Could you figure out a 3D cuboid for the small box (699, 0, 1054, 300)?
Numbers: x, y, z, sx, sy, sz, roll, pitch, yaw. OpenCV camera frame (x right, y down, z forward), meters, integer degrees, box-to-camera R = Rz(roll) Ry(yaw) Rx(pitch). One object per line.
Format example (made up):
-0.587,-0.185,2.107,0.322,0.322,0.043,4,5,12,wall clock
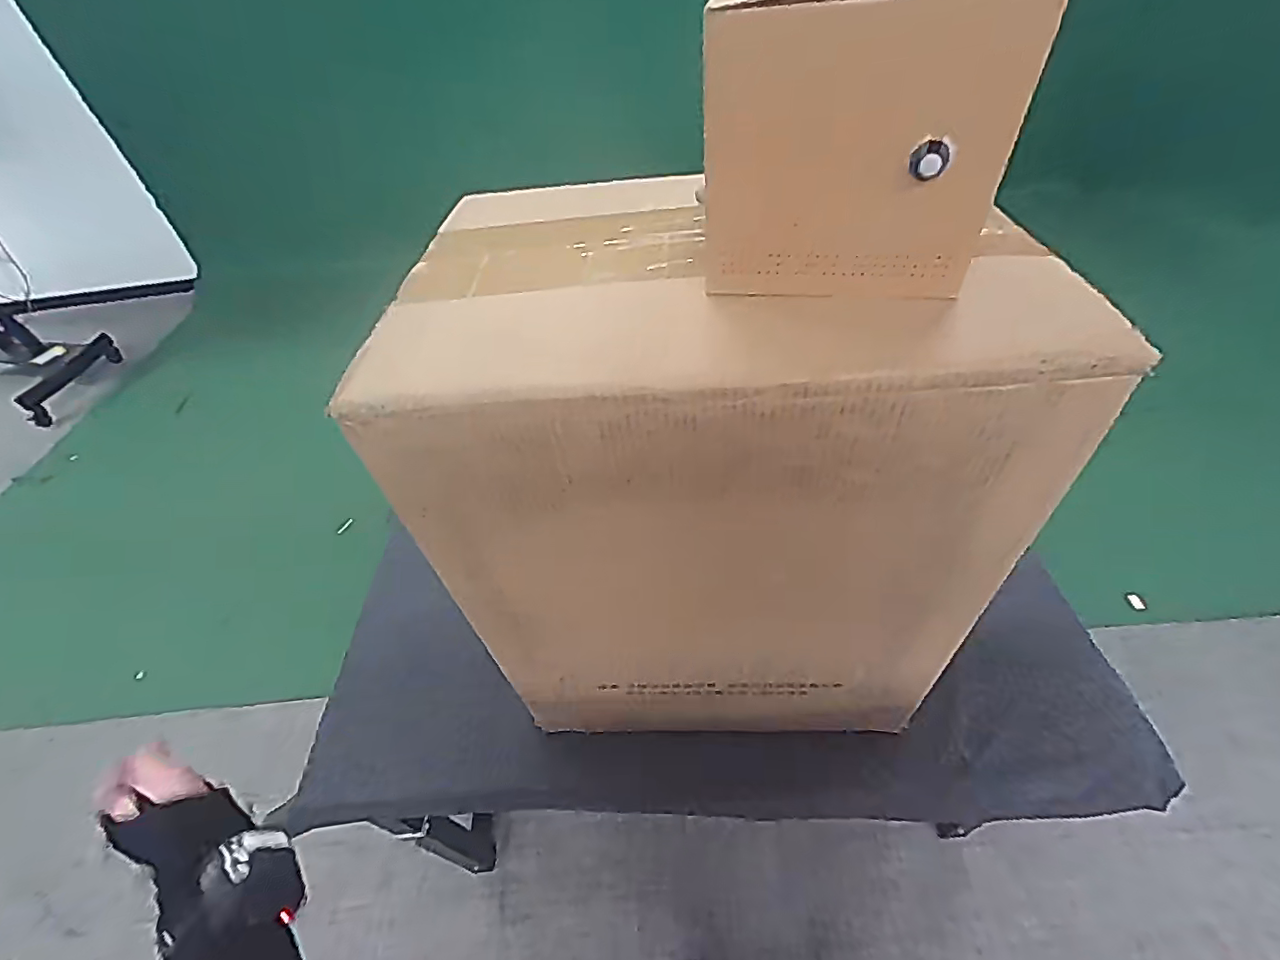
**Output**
0.141,-0.244,0.386,0.179,0.176,0.168,5,49,13,small box
